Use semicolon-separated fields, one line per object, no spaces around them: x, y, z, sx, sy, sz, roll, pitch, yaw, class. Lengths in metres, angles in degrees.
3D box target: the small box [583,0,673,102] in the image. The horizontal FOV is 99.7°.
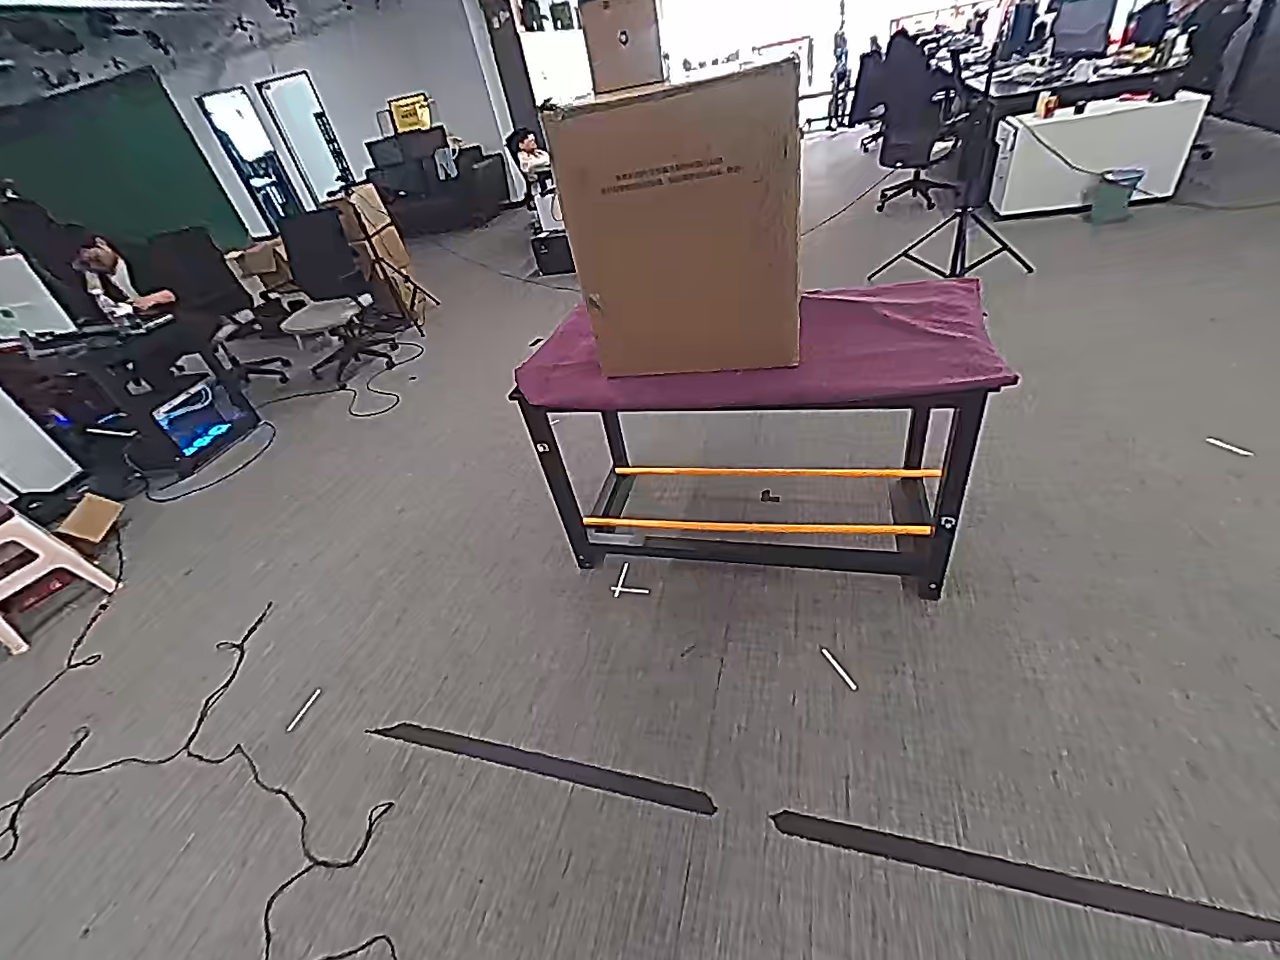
-0.022;-0.989;1.238;0.168;0.176;0.179;-2;39;12;small box
